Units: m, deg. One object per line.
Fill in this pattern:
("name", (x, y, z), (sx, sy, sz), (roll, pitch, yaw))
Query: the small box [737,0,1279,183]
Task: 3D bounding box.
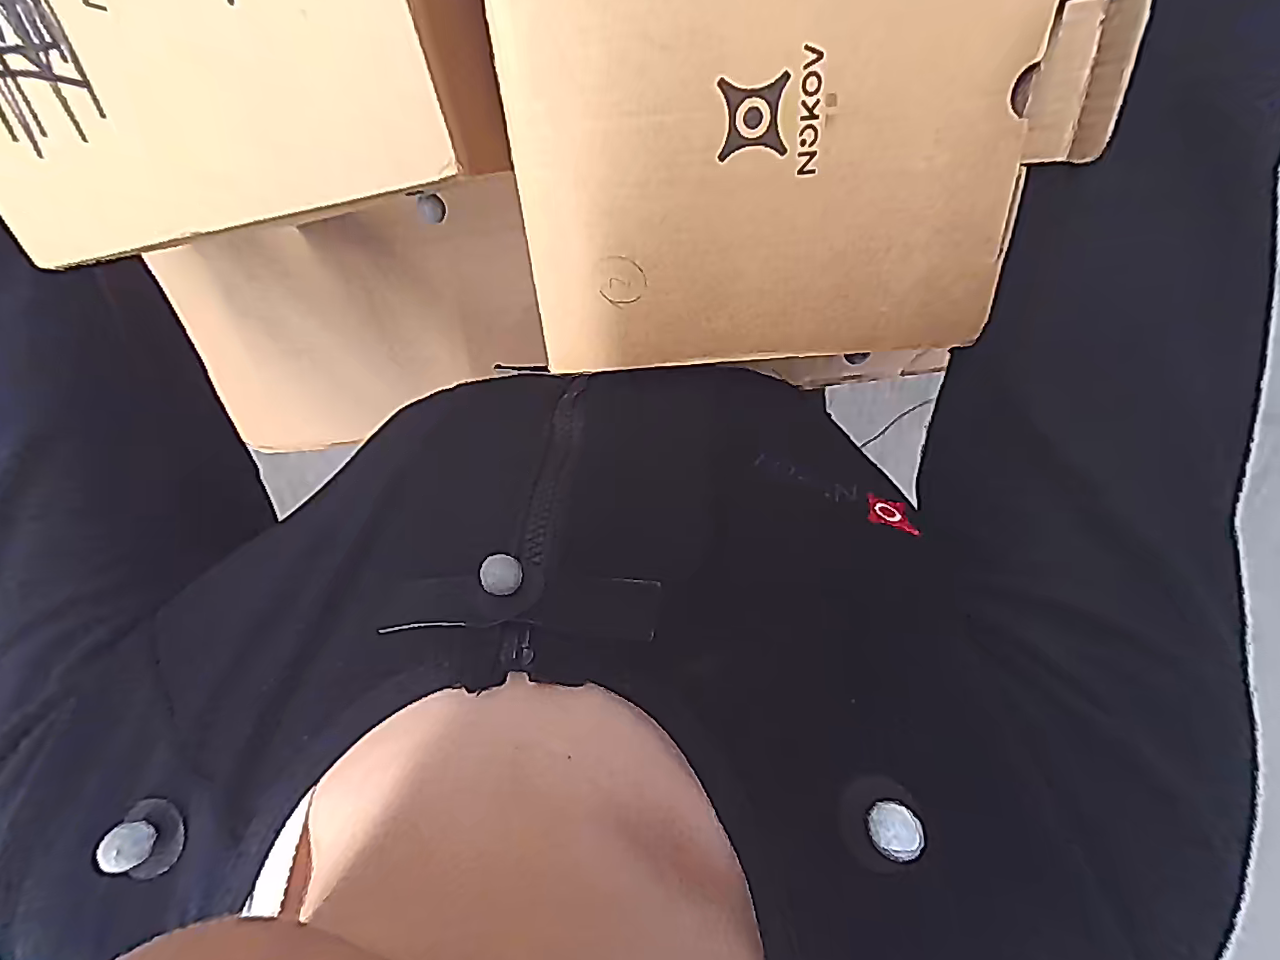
("small box", (0.143, -0.219, 0.189), (0.179, 0.176, 0.168), (9, 127, -3))
